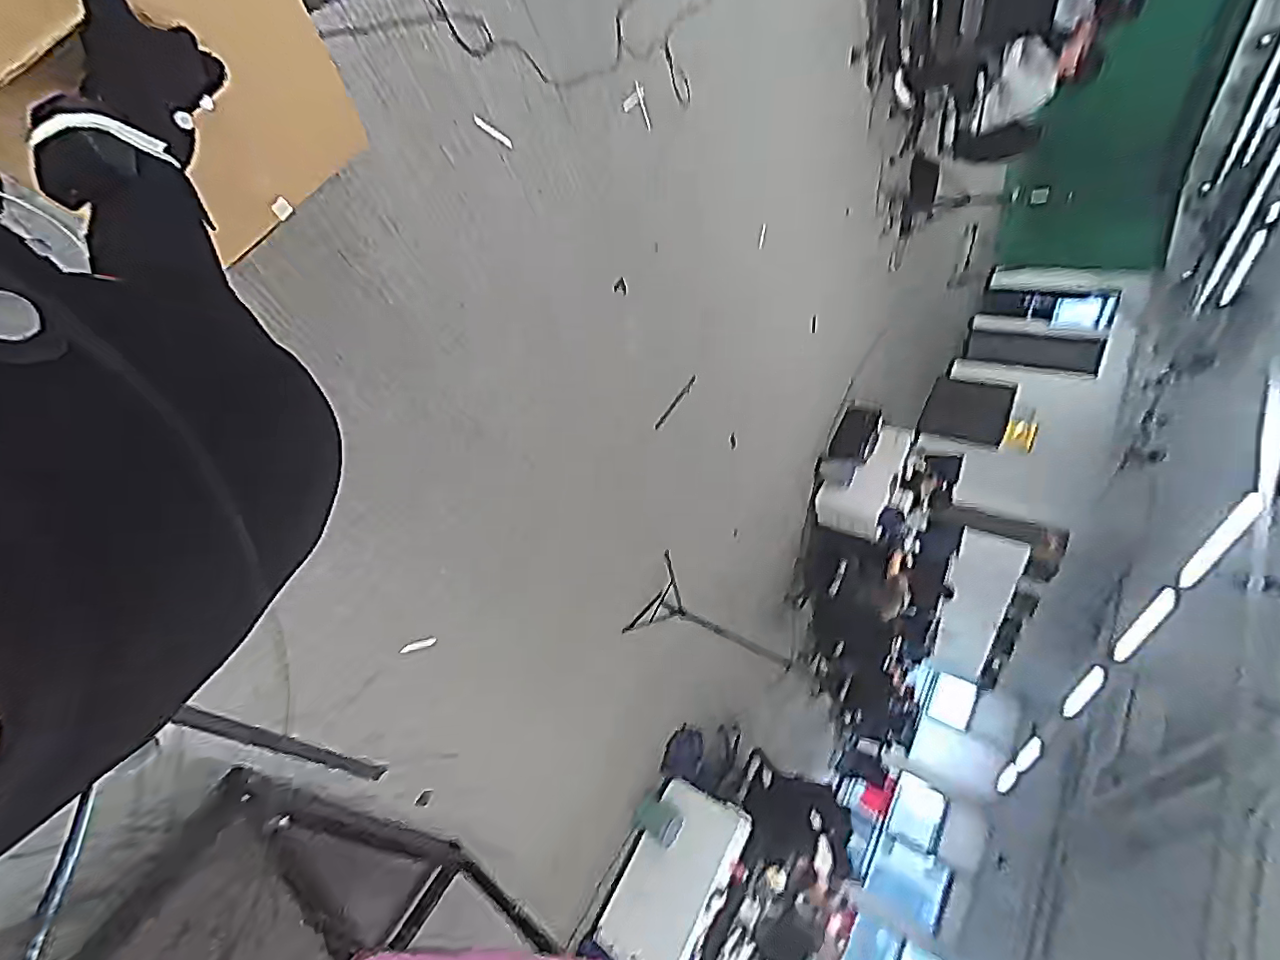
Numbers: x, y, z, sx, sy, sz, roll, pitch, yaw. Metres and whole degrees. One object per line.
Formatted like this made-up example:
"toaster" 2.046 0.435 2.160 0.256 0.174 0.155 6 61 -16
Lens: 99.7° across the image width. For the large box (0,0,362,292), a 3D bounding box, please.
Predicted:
"large box" -0.599 -0.492 0.571 0.320 0.408 0.320 -49 -174 -10
